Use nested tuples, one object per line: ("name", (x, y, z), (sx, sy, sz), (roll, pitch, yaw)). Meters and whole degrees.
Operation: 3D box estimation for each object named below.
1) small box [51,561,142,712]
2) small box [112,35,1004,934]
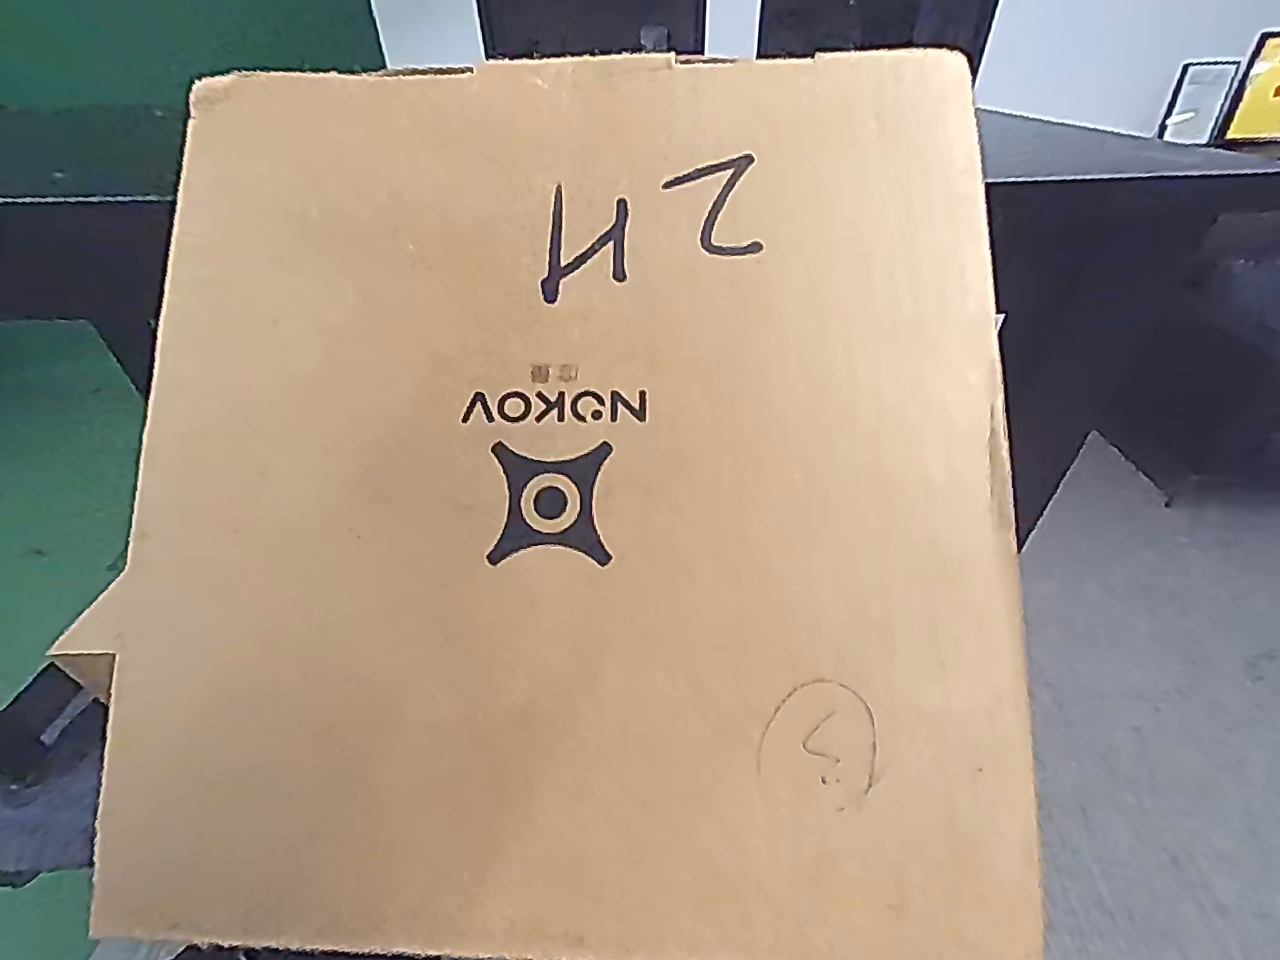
("small box", (-0.712, 0.244, 0.840), (0.168, 0.176, 0.179), (-1, 38, 1))
("small box", (-0.012, 0.002, 0.187), (0.168, 0.176, 0.179), (0, 82, 3))
